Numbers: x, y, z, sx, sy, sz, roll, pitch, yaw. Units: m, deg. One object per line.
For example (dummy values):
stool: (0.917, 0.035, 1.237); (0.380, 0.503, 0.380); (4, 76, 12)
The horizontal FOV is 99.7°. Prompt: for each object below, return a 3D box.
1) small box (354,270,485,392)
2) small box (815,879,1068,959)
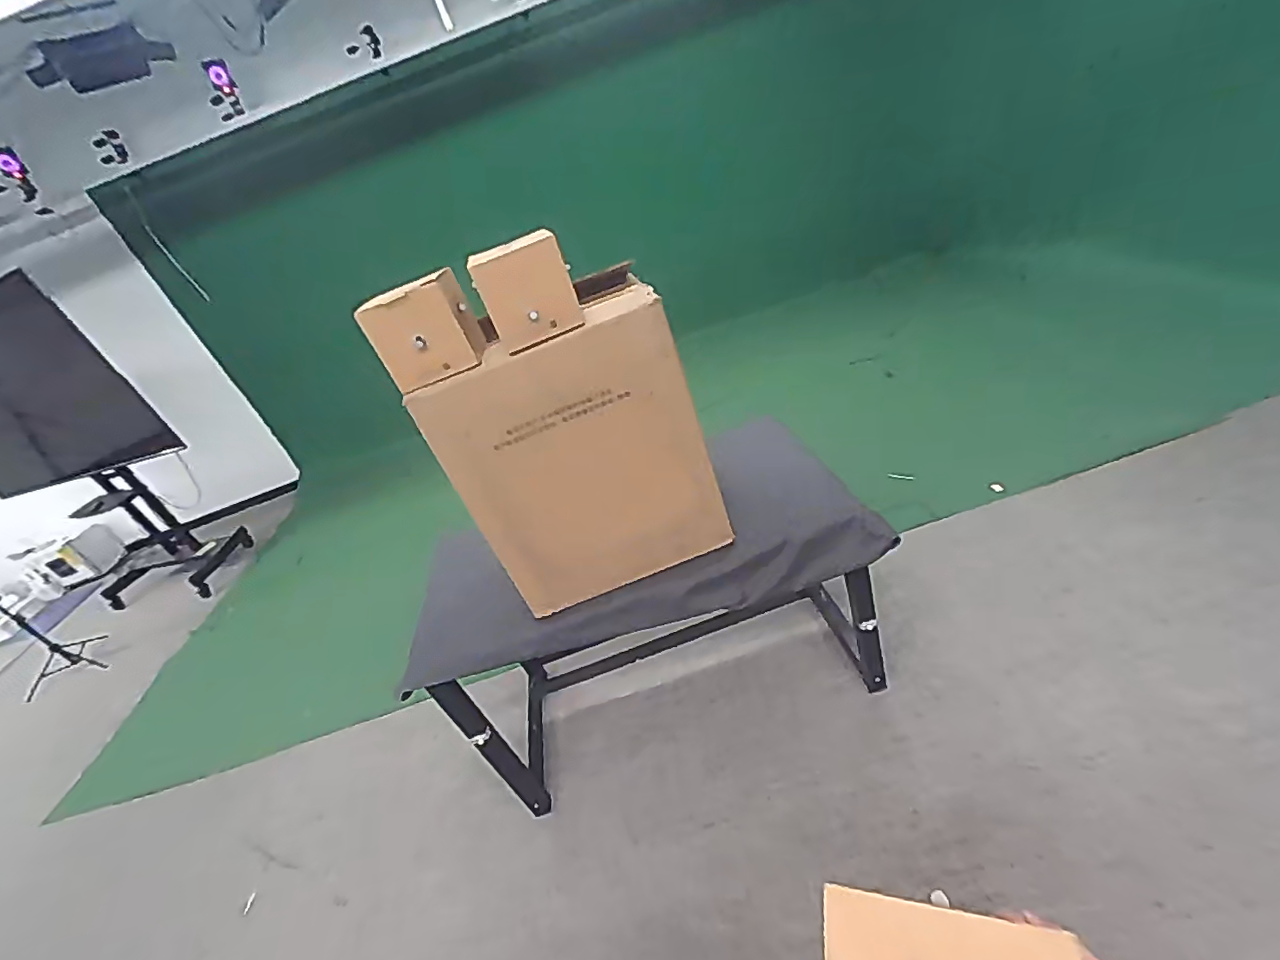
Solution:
small box: (-0.427, -0.295, 1.081); (0.168, 0.176, 0.179); (-21, 31, 1)
small box: (0.224, 0.432, 0.410); (0.168, 0.176, 0.179); (-2, 50, 19)
